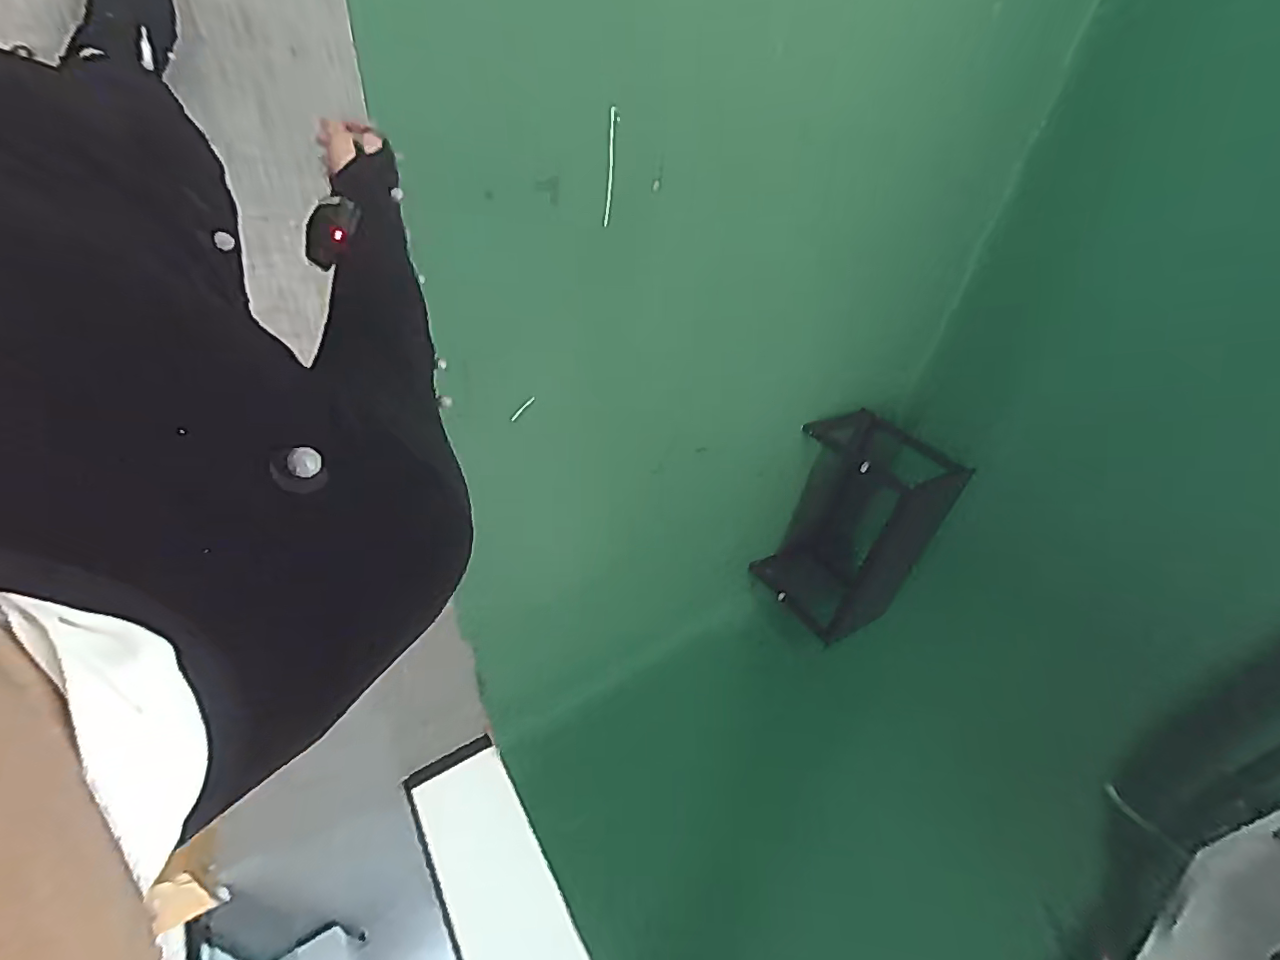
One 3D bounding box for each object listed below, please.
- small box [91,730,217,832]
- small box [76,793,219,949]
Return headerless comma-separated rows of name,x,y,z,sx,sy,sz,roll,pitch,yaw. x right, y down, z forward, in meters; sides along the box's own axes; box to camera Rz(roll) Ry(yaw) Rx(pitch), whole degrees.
small box,-1.066,0.699,1.202,0.168,0.176,0.179,-15,131,-30
small box,-0.975,0.777,1.088,0.168,0.176,0.179,-17,132,-29
